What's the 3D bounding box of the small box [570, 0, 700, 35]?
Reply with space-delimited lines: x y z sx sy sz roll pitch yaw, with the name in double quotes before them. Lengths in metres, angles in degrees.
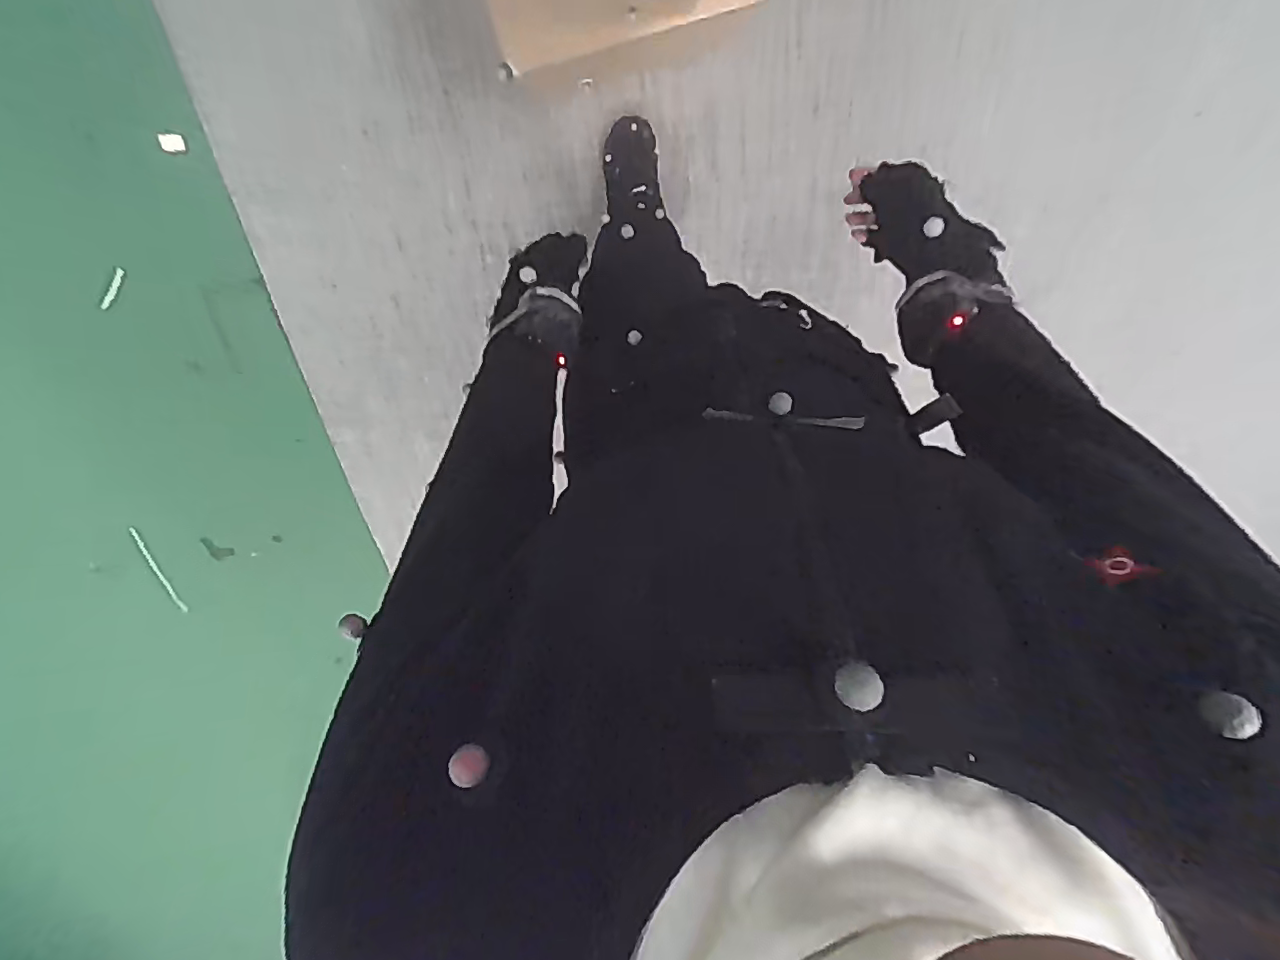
"small box" -0.012 -0.702 0.696 0.179 0.176 0.168 -7 120 3
